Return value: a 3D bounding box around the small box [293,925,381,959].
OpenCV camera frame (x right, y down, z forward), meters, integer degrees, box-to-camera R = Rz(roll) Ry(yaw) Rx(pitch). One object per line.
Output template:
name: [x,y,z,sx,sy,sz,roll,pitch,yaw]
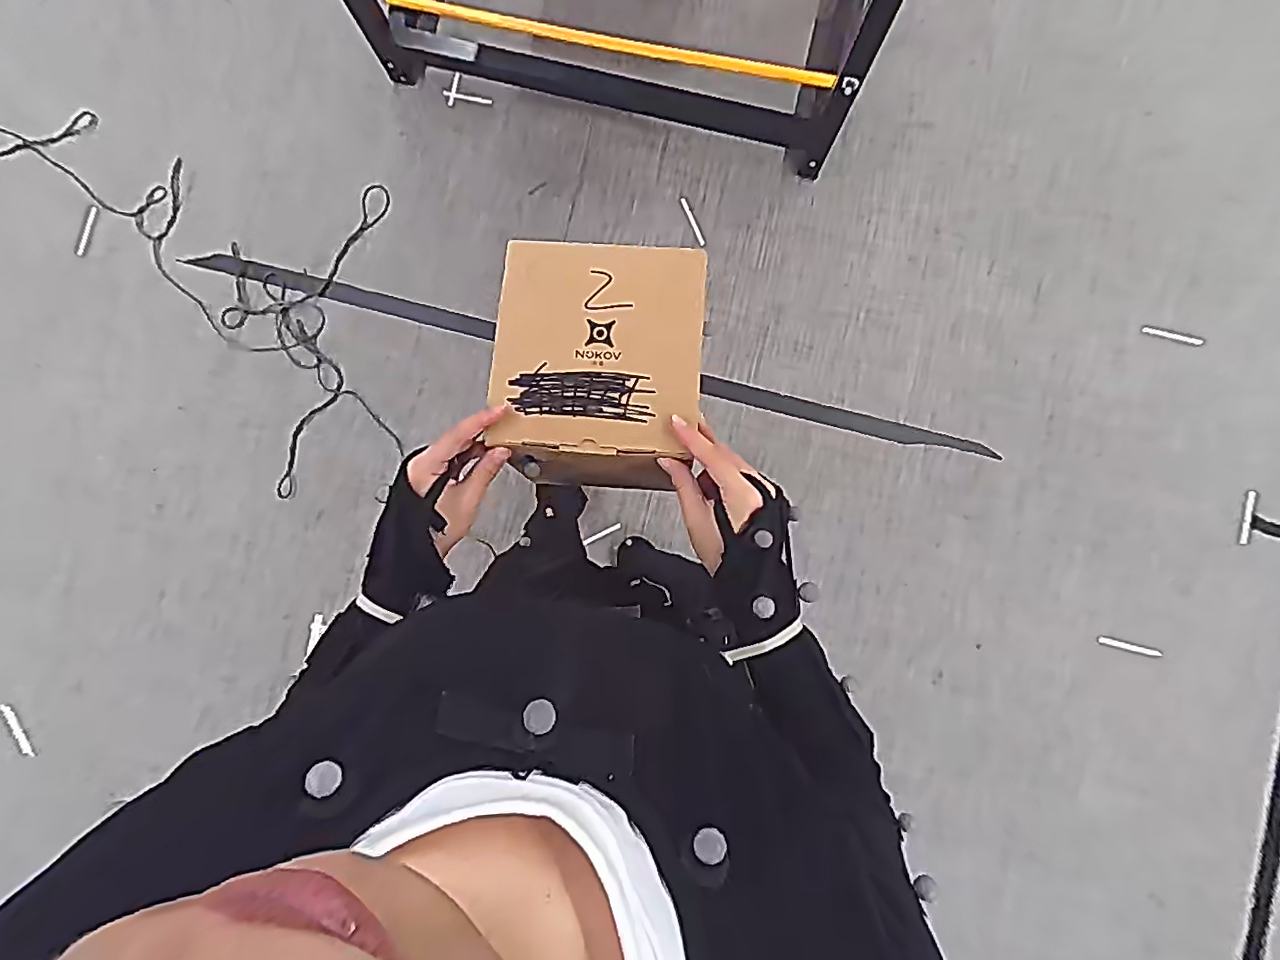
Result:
small box: [-0.692,1.124,1.168,0.168,0.176,0.179,17,87,2]
